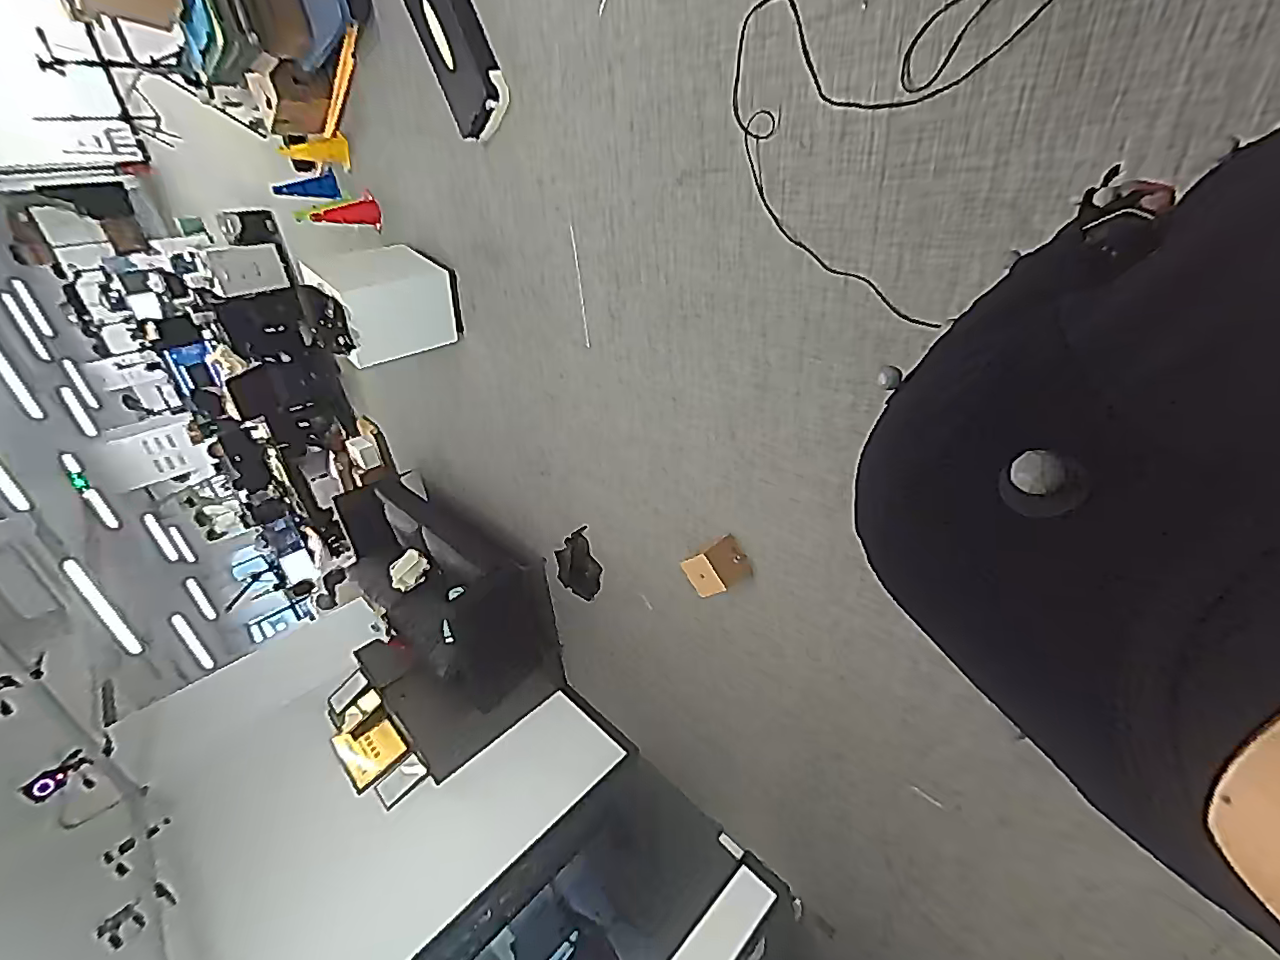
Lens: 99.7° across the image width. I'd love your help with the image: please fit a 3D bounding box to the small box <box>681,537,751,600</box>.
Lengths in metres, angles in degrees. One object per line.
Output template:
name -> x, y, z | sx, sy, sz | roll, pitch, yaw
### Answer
small box -> 0.301, 0.348, 2.132 | 0.168, 0.176, 0.179 | 57, 144, 4
